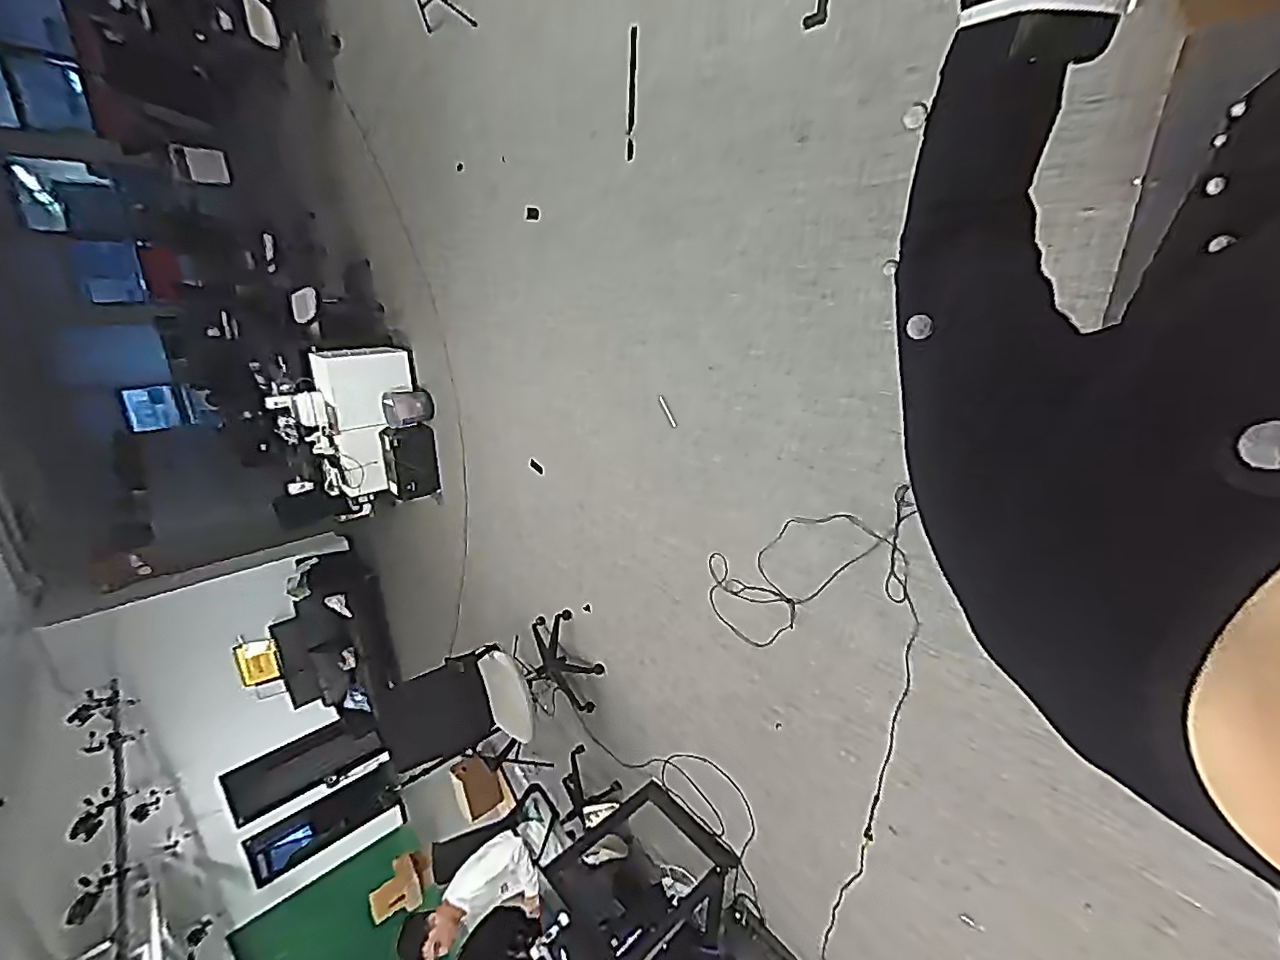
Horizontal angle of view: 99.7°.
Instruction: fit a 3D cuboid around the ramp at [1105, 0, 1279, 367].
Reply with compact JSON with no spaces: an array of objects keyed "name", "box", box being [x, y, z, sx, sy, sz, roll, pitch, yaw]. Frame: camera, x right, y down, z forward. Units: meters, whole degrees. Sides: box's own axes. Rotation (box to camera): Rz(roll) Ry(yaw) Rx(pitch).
[{"name":"ramp","box":[1.101,-0.647,0.765,0.509,0.206,0.991,19,118,43]}]
